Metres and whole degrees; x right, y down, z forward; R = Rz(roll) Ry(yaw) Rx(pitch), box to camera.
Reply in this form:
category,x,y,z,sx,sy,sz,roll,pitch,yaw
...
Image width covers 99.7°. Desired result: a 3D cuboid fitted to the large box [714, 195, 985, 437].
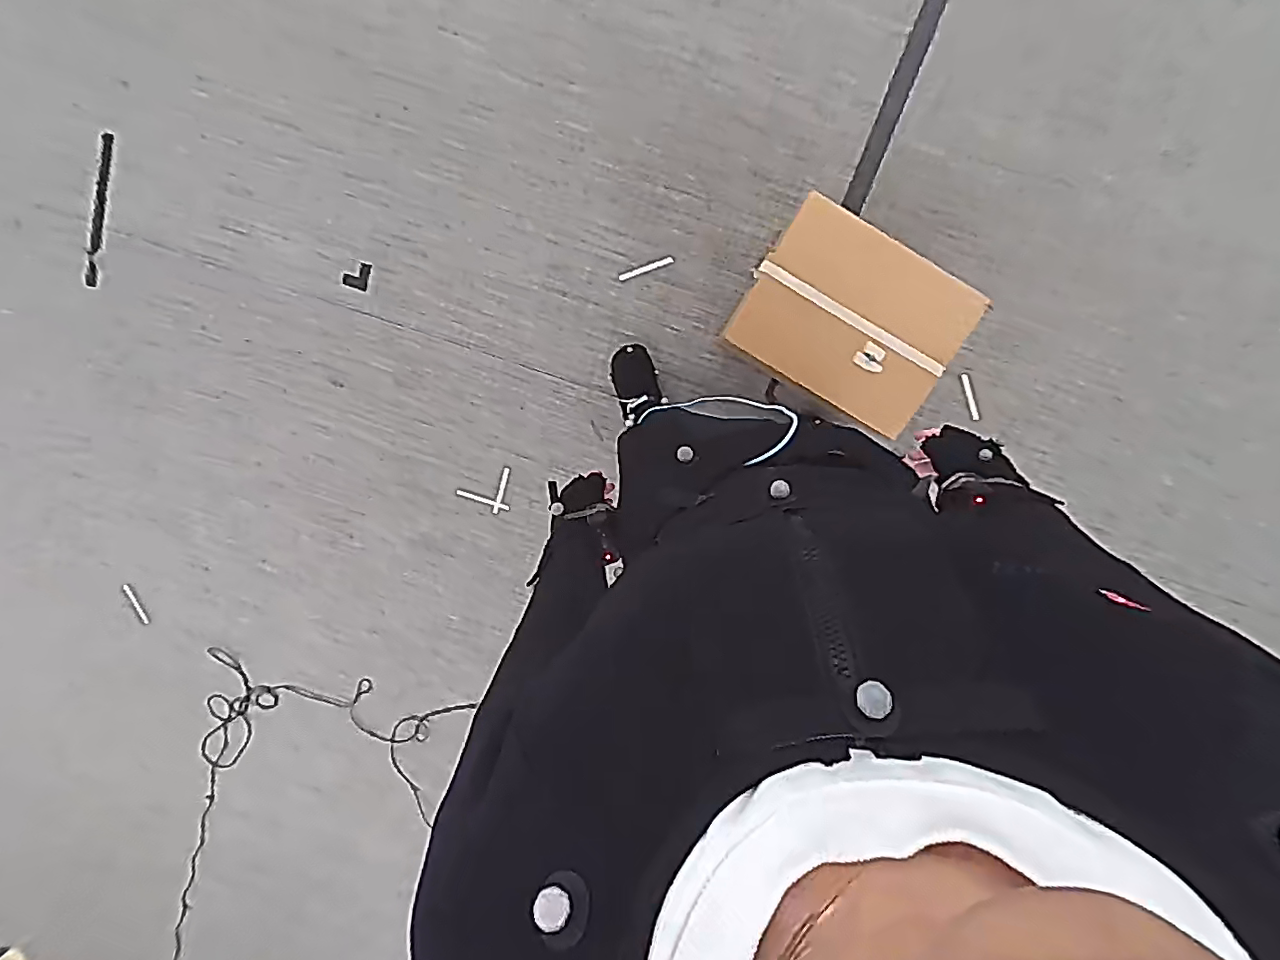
category,x,y,z,sx,sy,sz,roll,pitch,yaw
large box,0.418,-0.341,1.190,0.408,0.320,0.320,30,104,-3
